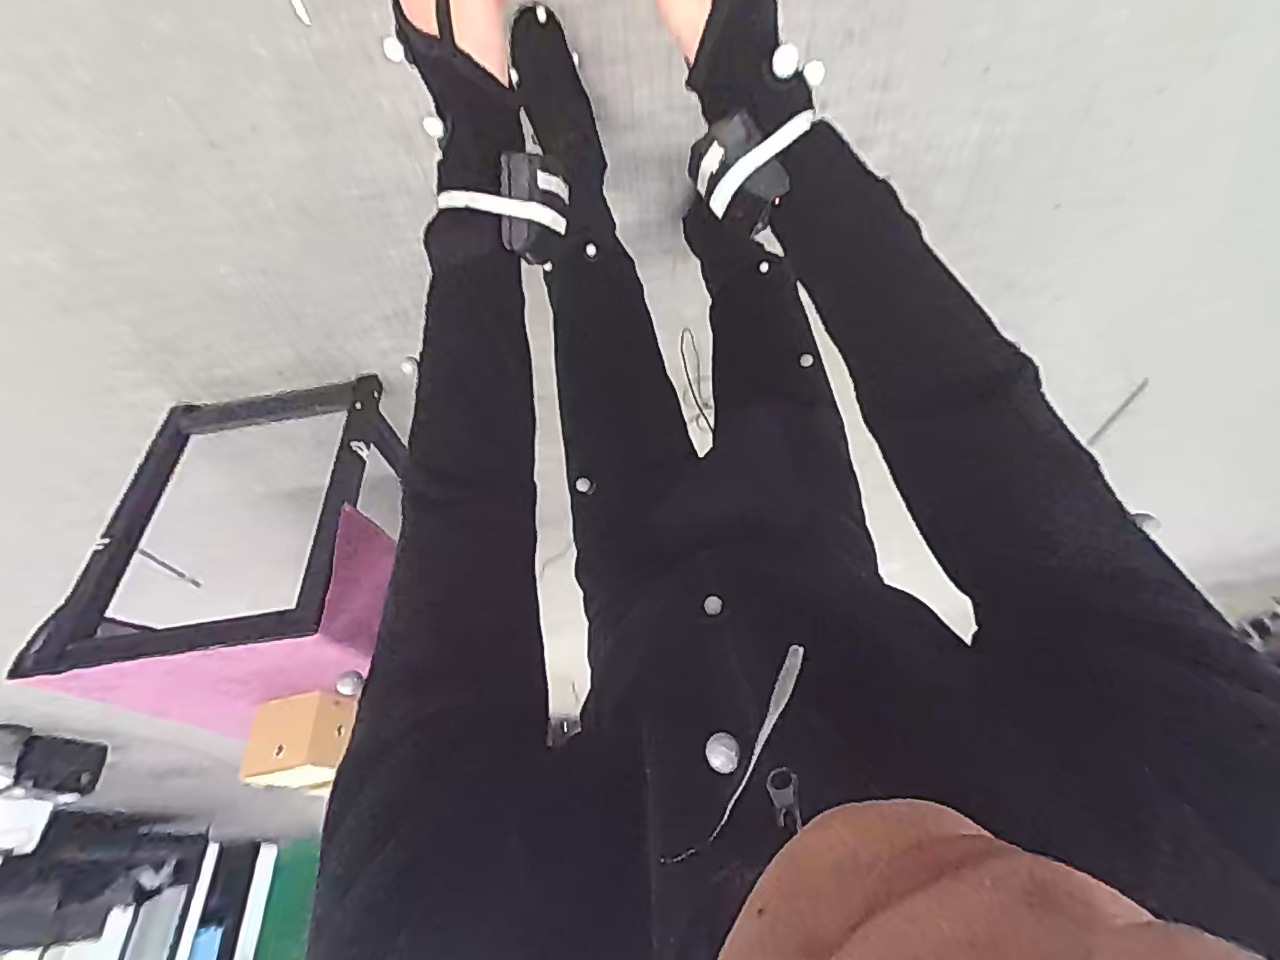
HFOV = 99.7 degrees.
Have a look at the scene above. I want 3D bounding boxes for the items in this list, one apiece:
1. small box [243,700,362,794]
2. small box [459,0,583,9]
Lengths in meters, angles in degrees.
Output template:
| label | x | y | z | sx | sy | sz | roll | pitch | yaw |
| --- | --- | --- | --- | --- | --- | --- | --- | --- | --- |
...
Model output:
| label | x | y | z | sx | sy | sz | roll | pitch | yaw |
| --- | --- | --- | --- | --- | --- | --- | --- | --- | --- |
| small box | -0.807 | 0.649 | 1.317 | 0.179 | 0.176 | 0.168 | -14 | 143 | 8 |
| small box | -0.059 | -0.458 | 0.352 | 0.168 | 0.176 | 0.179 | -5 | 153 | -1 |
